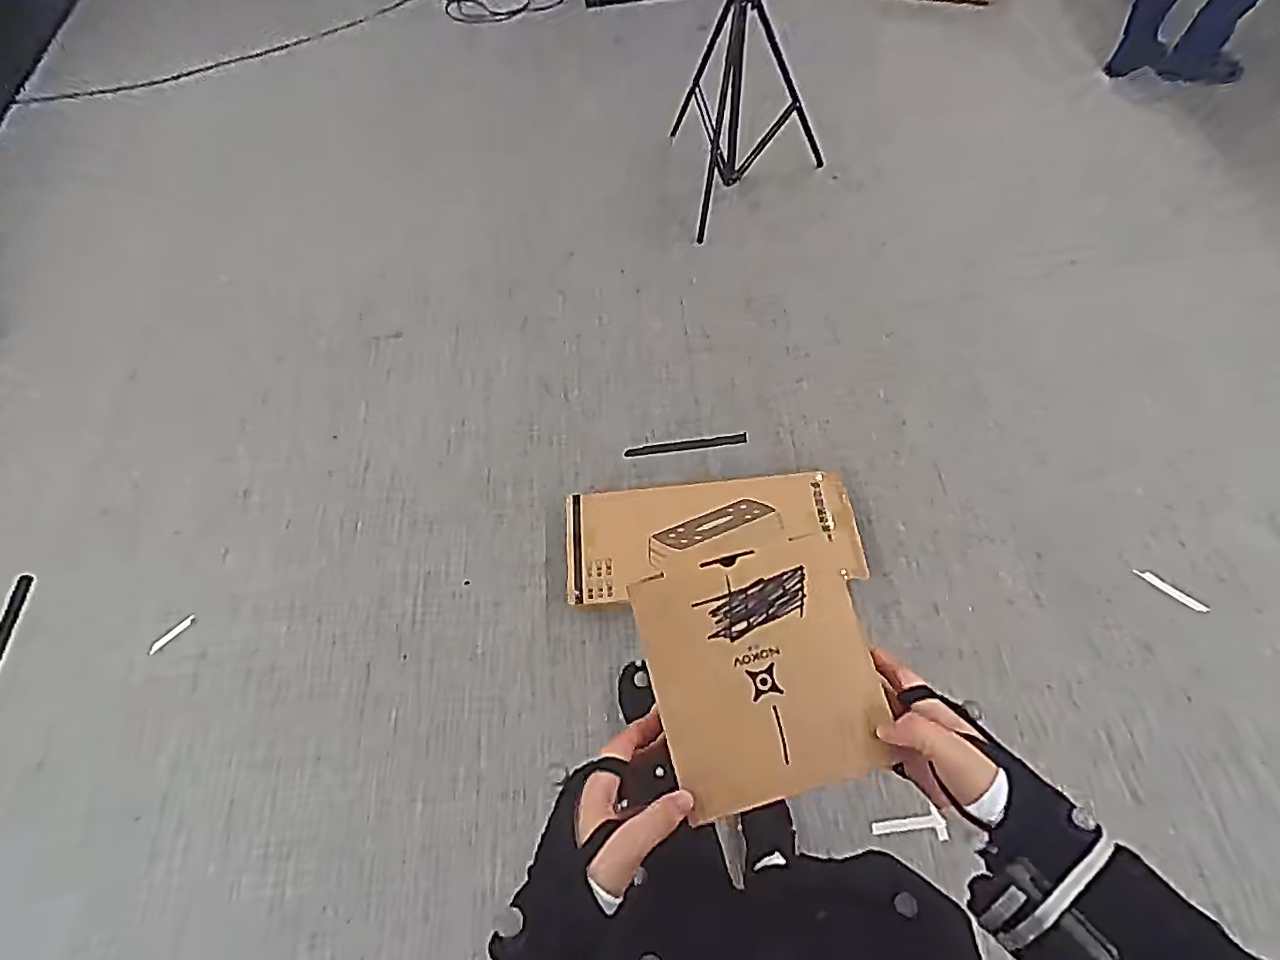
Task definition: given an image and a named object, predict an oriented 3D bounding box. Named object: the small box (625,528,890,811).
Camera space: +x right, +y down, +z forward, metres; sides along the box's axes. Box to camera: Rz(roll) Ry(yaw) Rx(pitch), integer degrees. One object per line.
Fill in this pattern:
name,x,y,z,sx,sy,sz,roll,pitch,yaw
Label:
small box,0.085,0.158,0.490,0.168,0.176,0.179,-15,78,-3
